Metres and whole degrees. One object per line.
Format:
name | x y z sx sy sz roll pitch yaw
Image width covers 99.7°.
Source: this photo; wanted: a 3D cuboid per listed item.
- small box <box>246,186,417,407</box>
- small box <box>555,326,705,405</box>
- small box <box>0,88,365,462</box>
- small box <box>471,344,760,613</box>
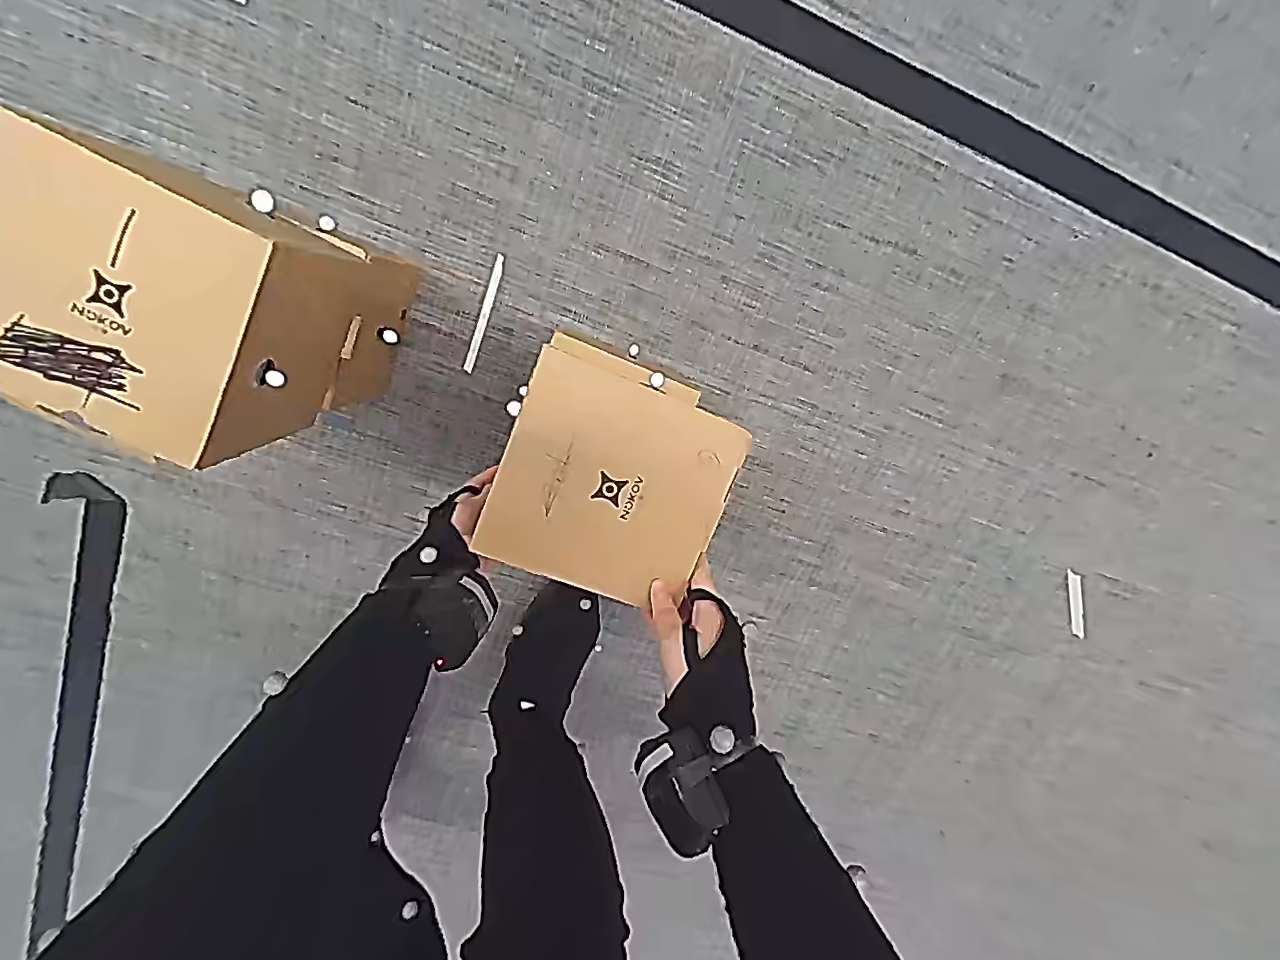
small box | -0.363 -0.199 0.578 0.179 0.176 0.168 21 104 -12
small box | -0.045 -0.072 0.643 0.168 0.176 0.179 22 105 -10
small box | -0.349 -0.143 0.423 0.168 0.176 0.179 26 103 -12
small box | -0.027 -0.012 0.484 0.179 0.176 0.168 22 99 -11
